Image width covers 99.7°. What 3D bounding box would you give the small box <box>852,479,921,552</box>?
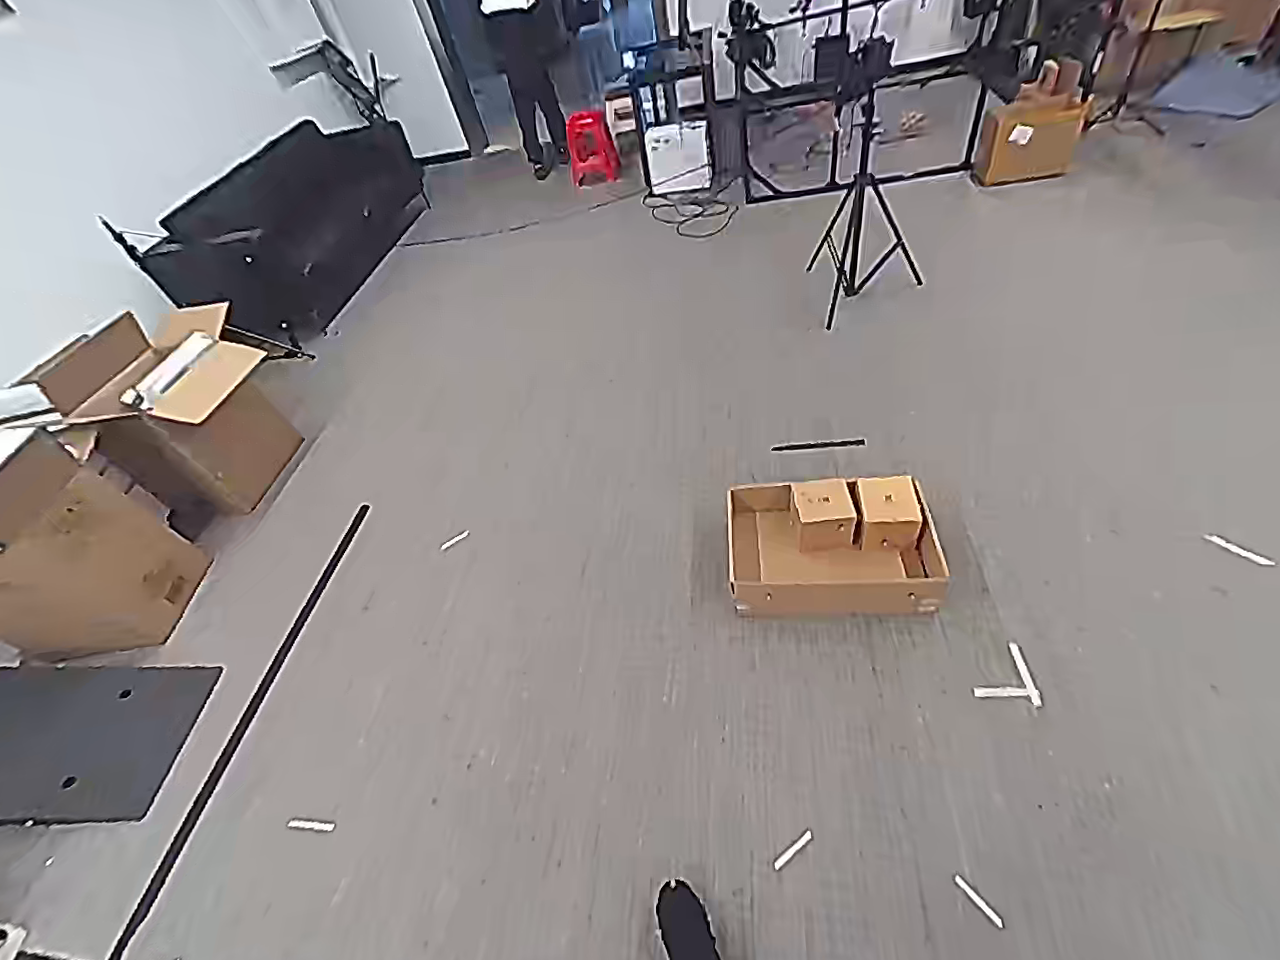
[{"bbox_3d":[0.792,0.117,1.758,0.168,0.176,0.179,-4,50,13],"label":"small box"}]
